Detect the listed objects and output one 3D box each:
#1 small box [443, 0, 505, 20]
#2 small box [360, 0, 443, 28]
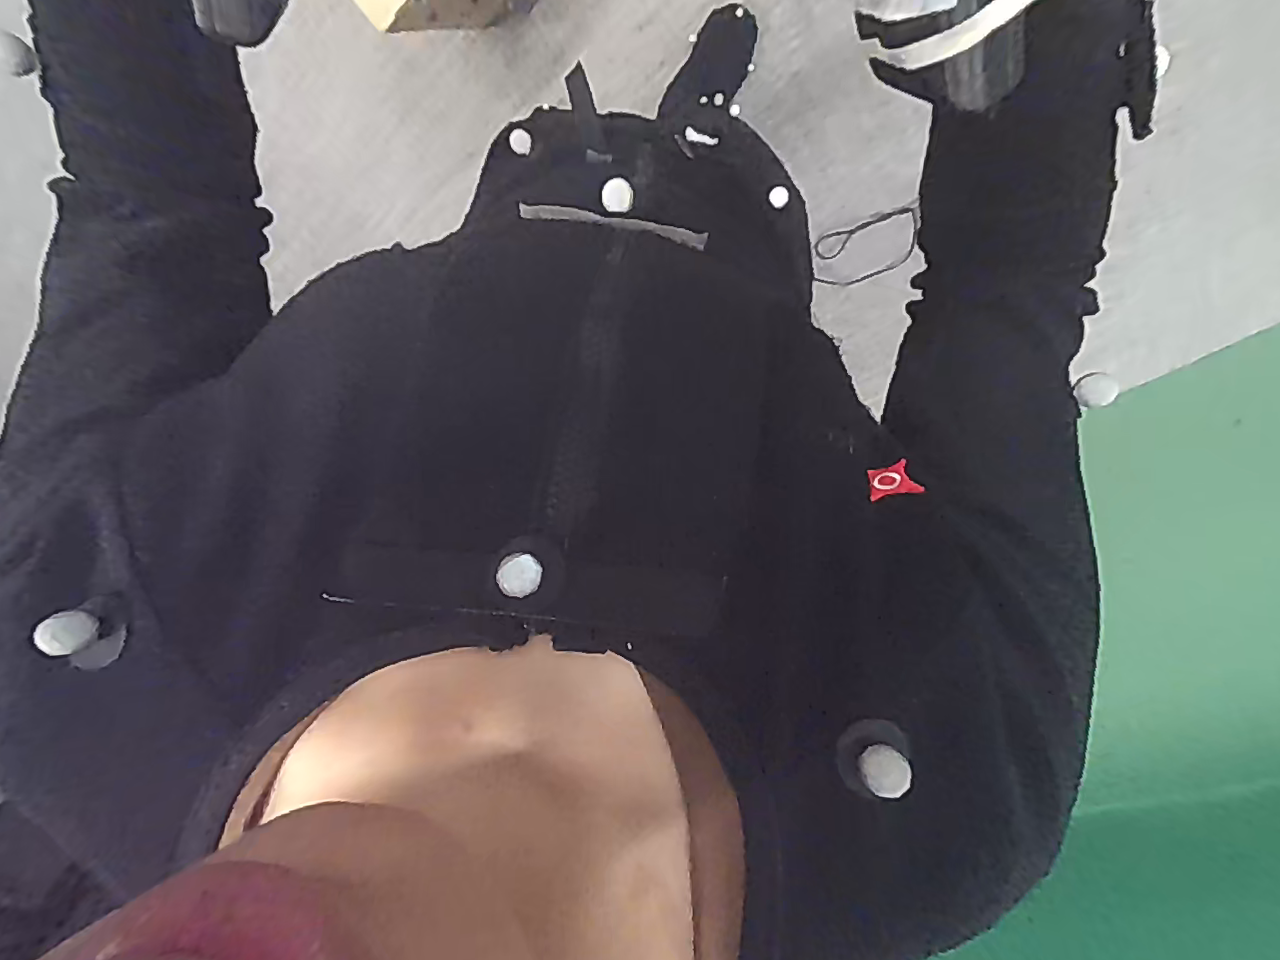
[{"bbox_3d":[-0.290,-0.928,0.916,0.168,0.176,0.179,-24,125,23],"label":"small box"},{"bbox_3d":[-0.307,-0.714,0.671,0.168,0.176,0.179,-27,124,23],"label":"small box"}]
